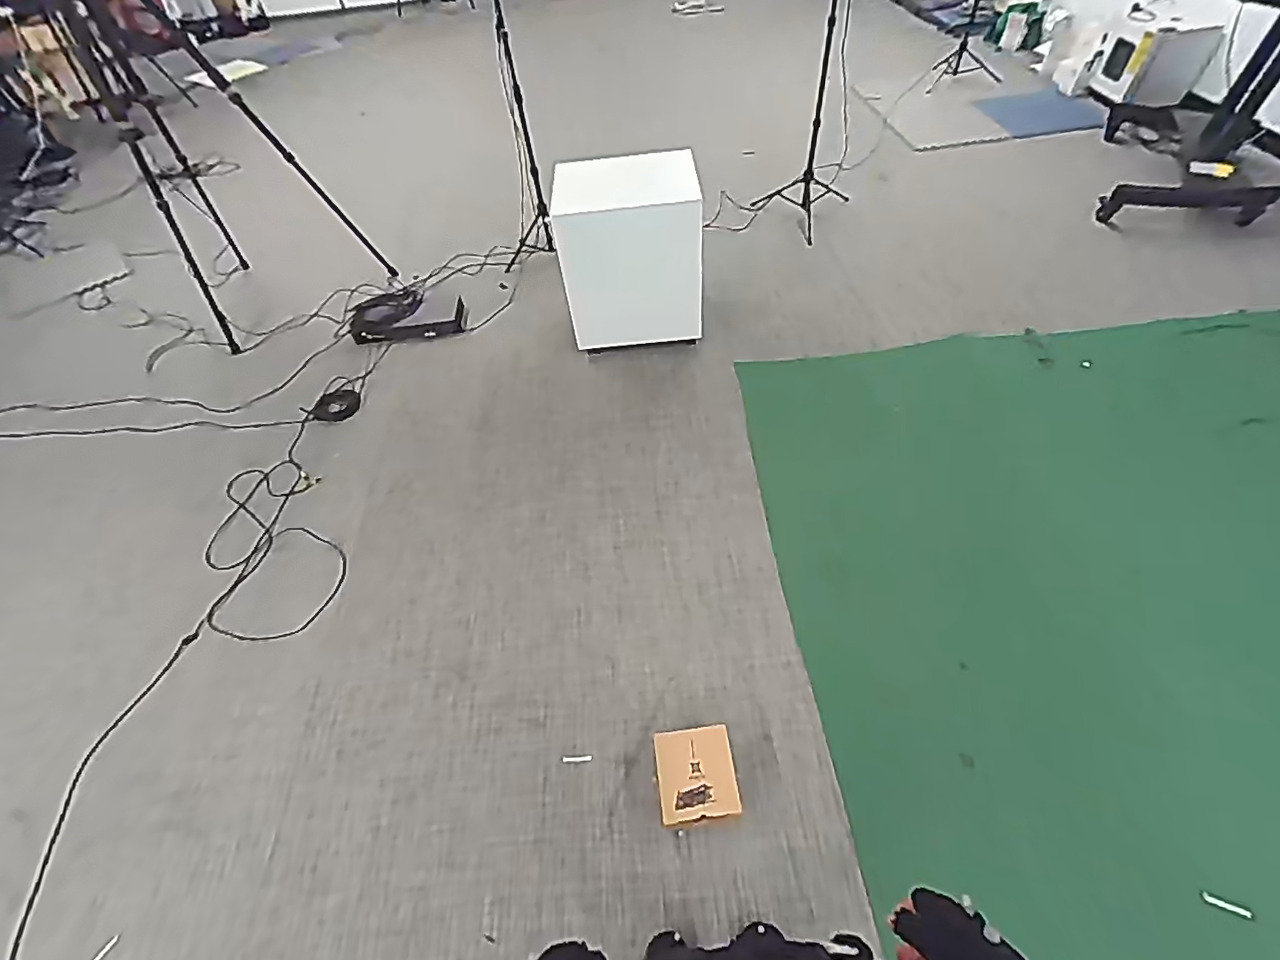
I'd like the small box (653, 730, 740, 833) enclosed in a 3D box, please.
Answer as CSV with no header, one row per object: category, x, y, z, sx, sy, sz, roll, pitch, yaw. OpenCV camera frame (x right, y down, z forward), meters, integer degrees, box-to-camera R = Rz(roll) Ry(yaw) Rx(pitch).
small box,0.125,0.682,1.214,0.168,0.176,0.179,-8,52,0
